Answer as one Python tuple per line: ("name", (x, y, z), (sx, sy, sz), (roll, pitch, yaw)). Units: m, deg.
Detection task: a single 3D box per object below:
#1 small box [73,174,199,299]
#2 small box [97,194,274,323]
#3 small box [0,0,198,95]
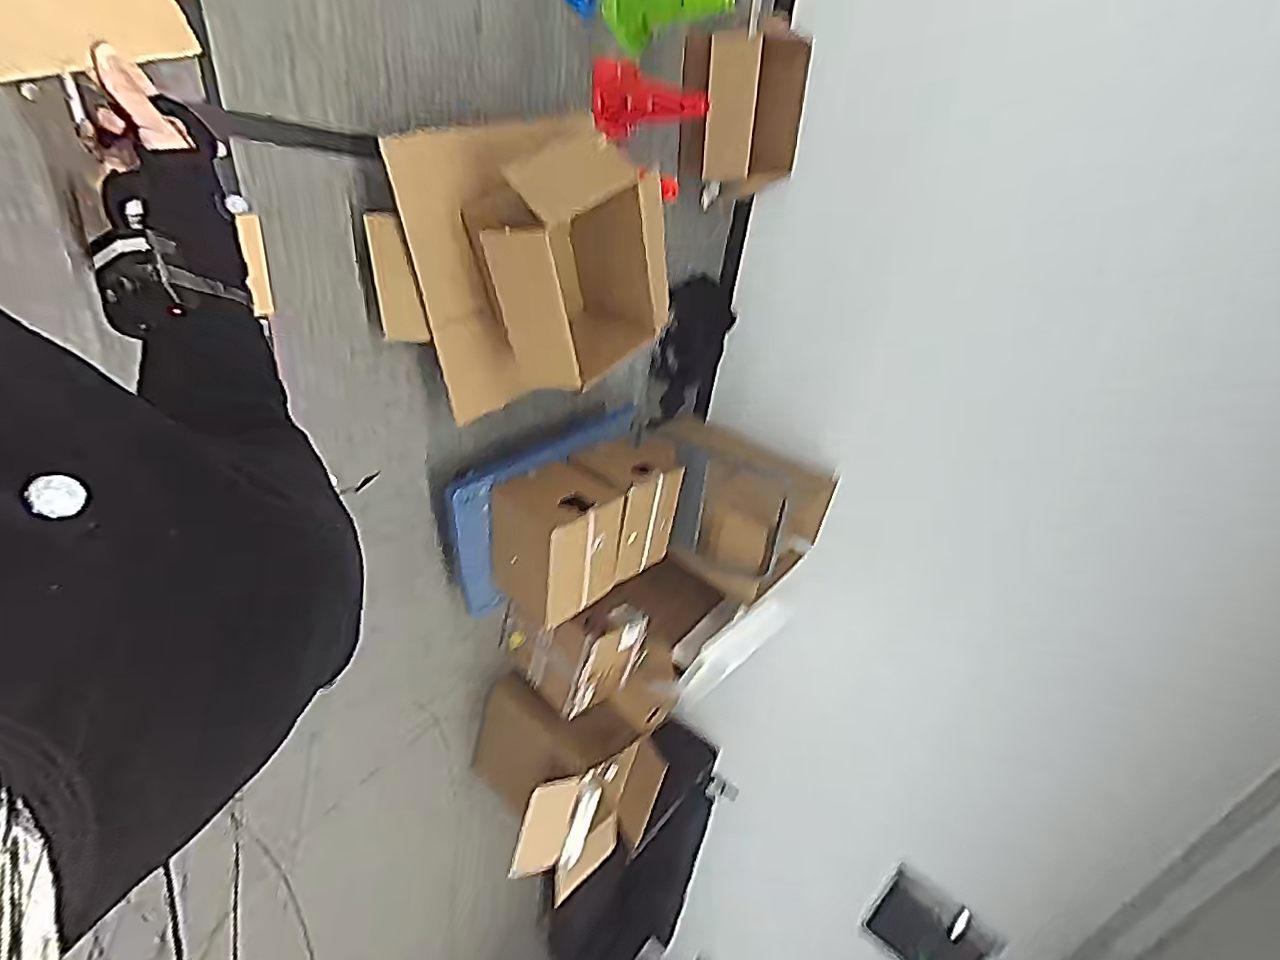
("small box", (-0.886, -0.435, 0.983), (0.168, 0.176, 0.179), (-18, 129, -49))
("small box", (-0.756, -0.372, 0.908), (0.179, 0.176, 0.168), (-22, 132, -45))
("small box", (-0.468, -0.365, 0.358), (0.179, 0.176, 0.168), (-50, 148, -35))
